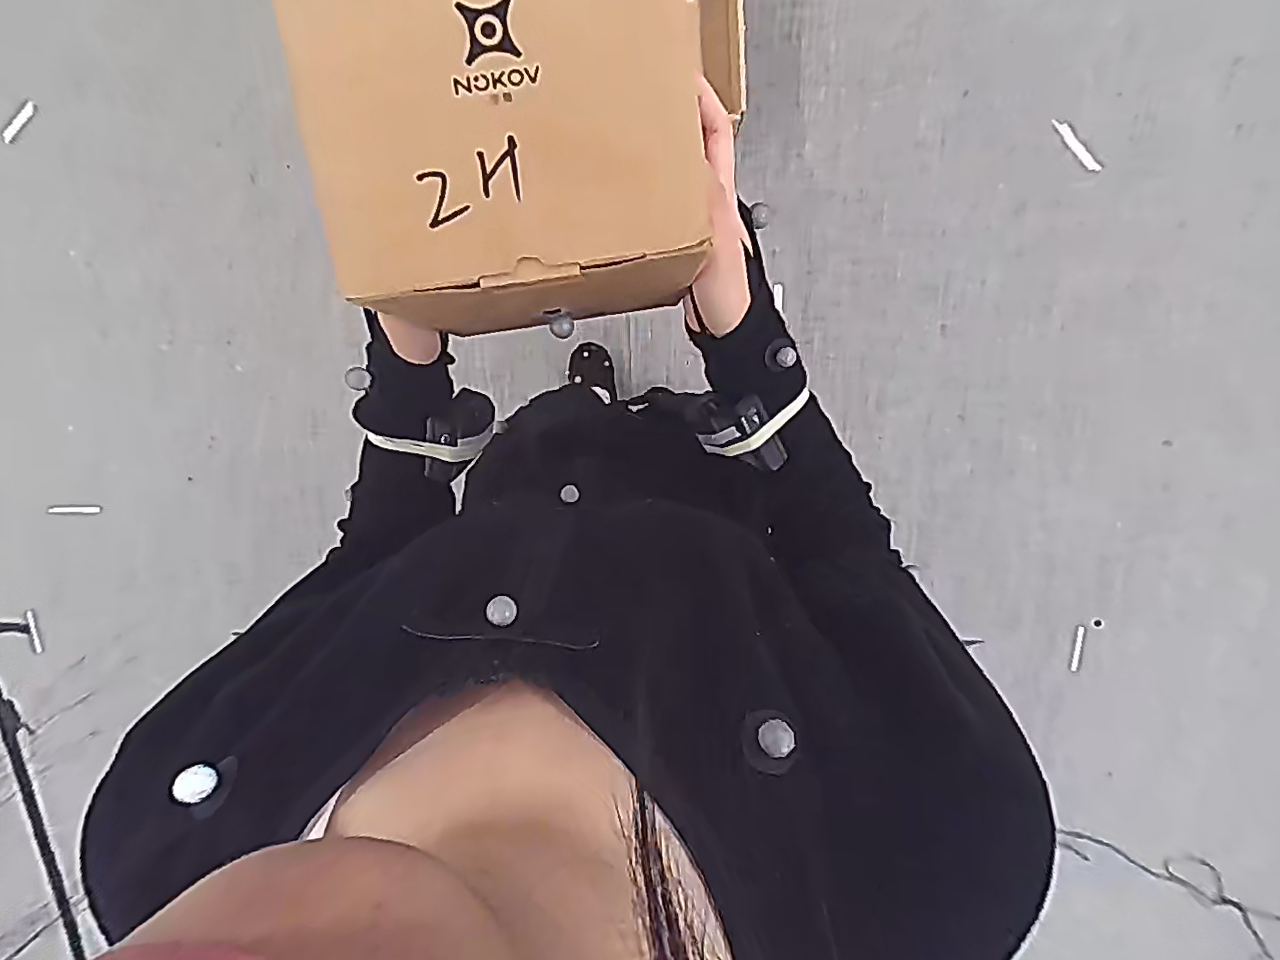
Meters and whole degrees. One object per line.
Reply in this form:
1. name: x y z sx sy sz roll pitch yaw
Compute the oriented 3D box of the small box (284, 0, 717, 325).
1. small box: -0.061 -0.192 0.297 0.168 0.176 0.179 -8 101 0
